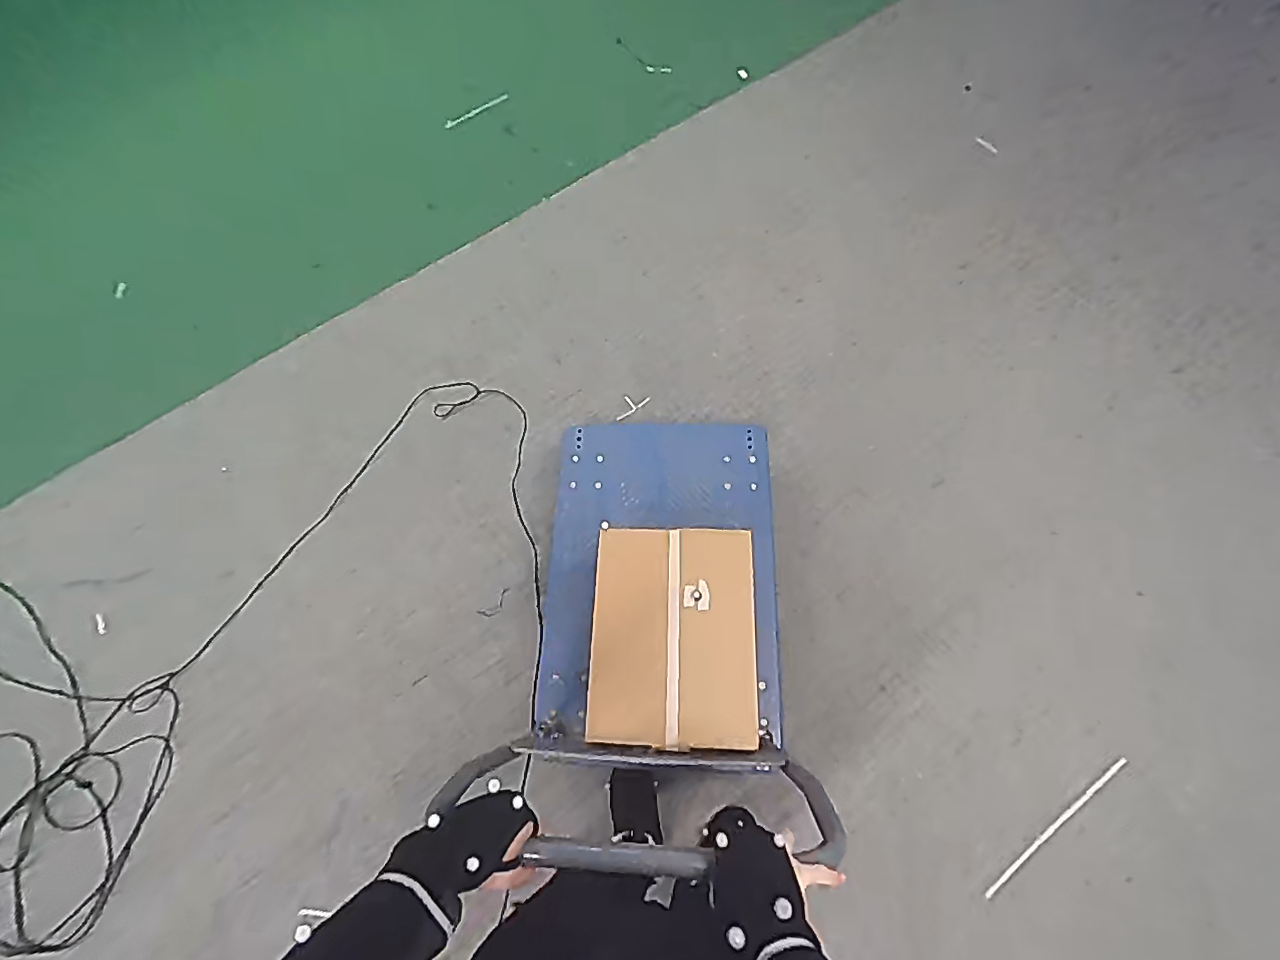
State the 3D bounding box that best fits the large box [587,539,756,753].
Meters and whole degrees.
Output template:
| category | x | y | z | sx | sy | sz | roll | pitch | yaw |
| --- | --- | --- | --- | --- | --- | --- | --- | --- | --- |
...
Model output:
| category | x | y | z | sx | sy | sz | roll | pitch | yaw |
| --- | --- | --- | --- | --- | --- | --- | --- | --- | --- |
| large box | 0.074 | 0.367 | 1.190 | 0.320 | 0.320 | 0.408 | 1 | 67 | 5 |
